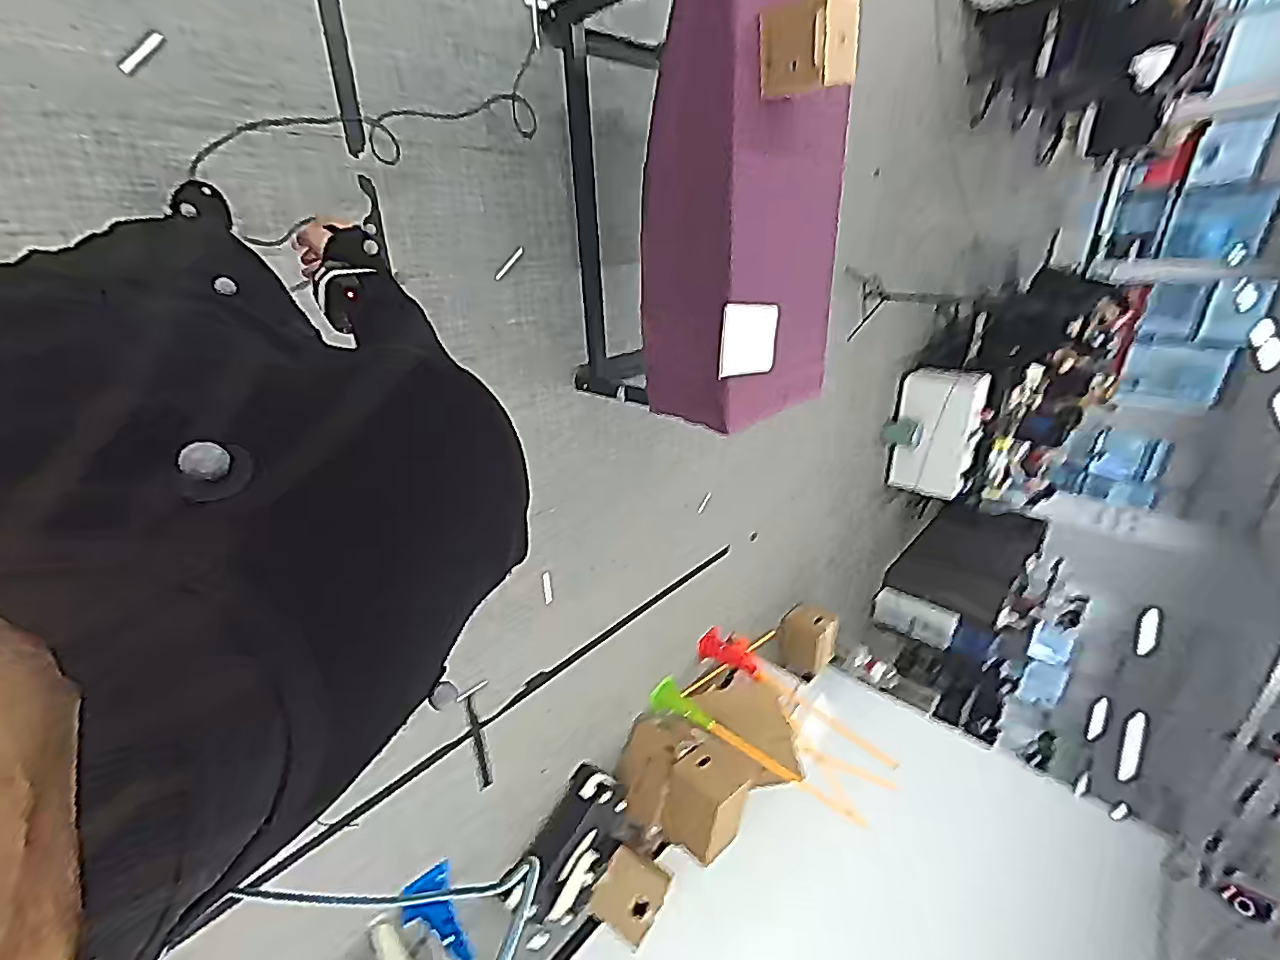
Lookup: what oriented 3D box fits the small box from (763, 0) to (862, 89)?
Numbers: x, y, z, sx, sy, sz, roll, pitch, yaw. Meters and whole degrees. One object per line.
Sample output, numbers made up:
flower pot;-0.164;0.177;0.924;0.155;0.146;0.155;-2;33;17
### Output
small box;0.408;-1.050;1.292;0.179;0.176;0.168;-34;129;-36
